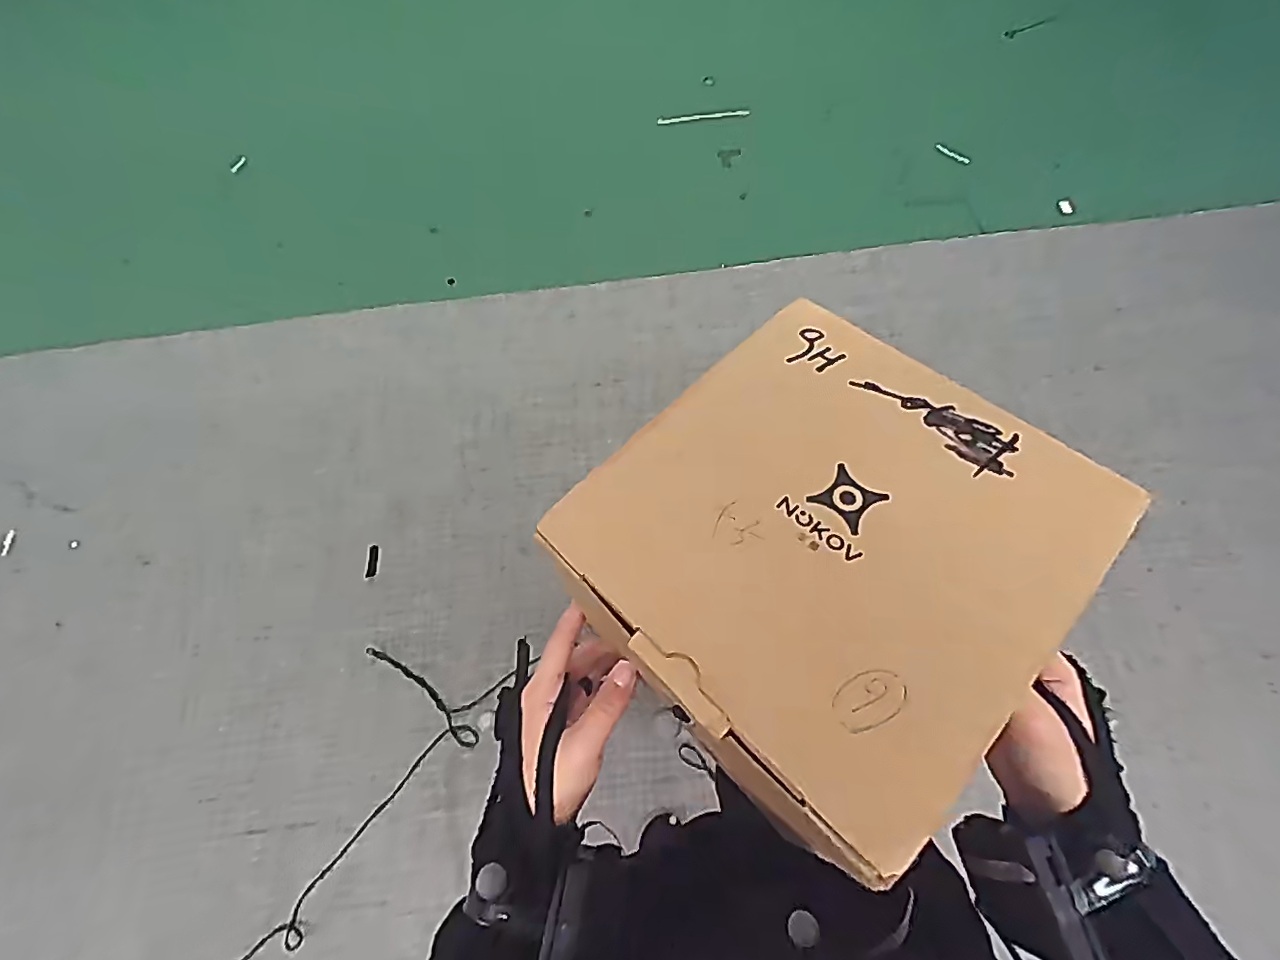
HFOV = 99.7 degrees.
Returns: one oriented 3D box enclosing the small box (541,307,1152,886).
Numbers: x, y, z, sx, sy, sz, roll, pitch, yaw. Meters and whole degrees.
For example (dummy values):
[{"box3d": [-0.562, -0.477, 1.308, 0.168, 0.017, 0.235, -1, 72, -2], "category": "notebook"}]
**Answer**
[{"box3d": [0.083, 0.056, 0.280, 0.179, 0.176, 0.168, -42, 65, -16], "category": "small box"}]
